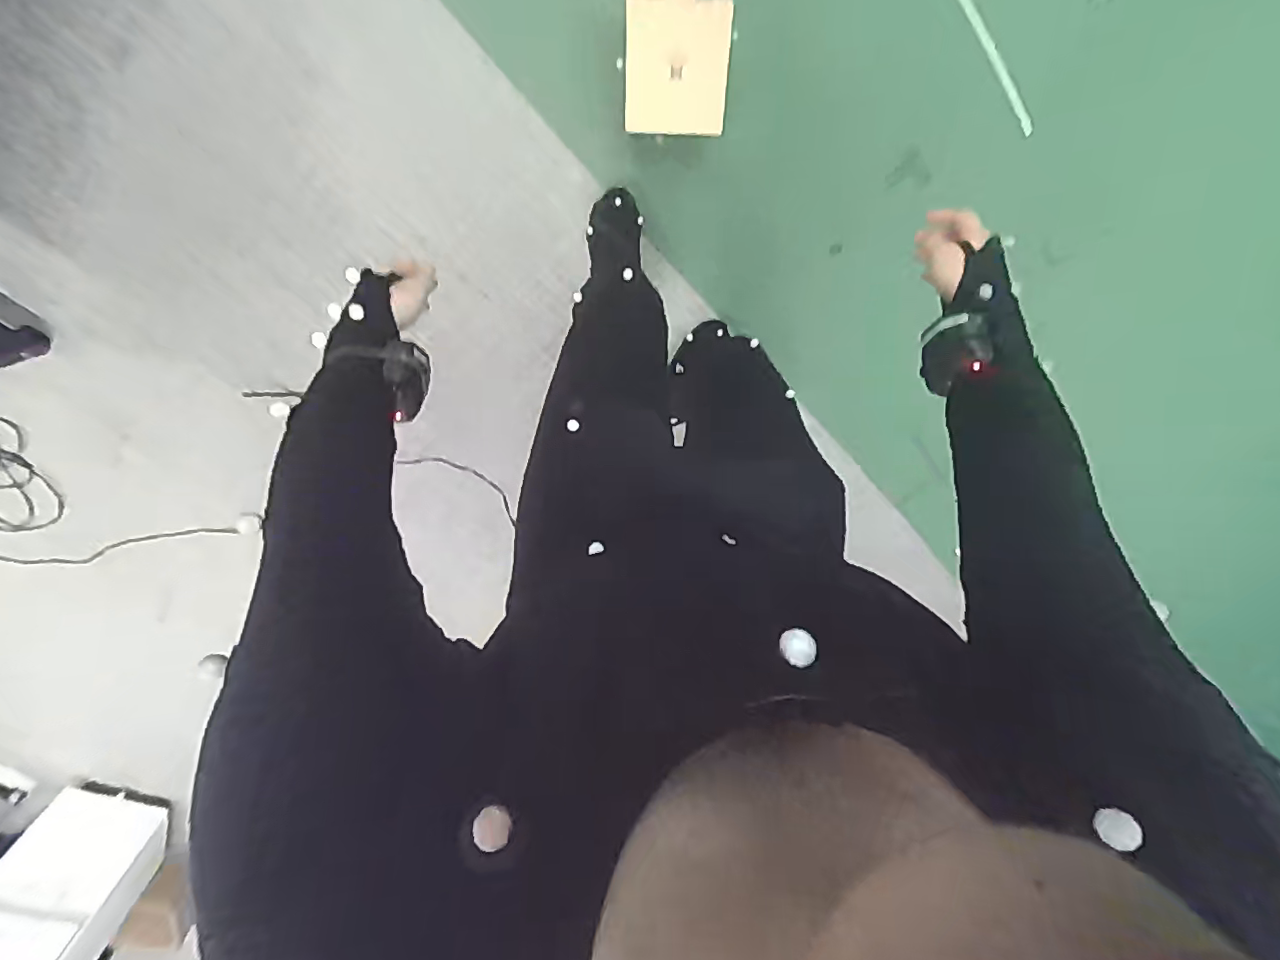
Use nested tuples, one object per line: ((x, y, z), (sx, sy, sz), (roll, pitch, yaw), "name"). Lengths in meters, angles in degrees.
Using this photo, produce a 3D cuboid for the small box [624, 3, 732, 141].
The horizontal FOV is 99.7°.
((0.060, -0.692, 0.933), (0.168, 0.176, 0.179), (1, 121, 1), "small box")
